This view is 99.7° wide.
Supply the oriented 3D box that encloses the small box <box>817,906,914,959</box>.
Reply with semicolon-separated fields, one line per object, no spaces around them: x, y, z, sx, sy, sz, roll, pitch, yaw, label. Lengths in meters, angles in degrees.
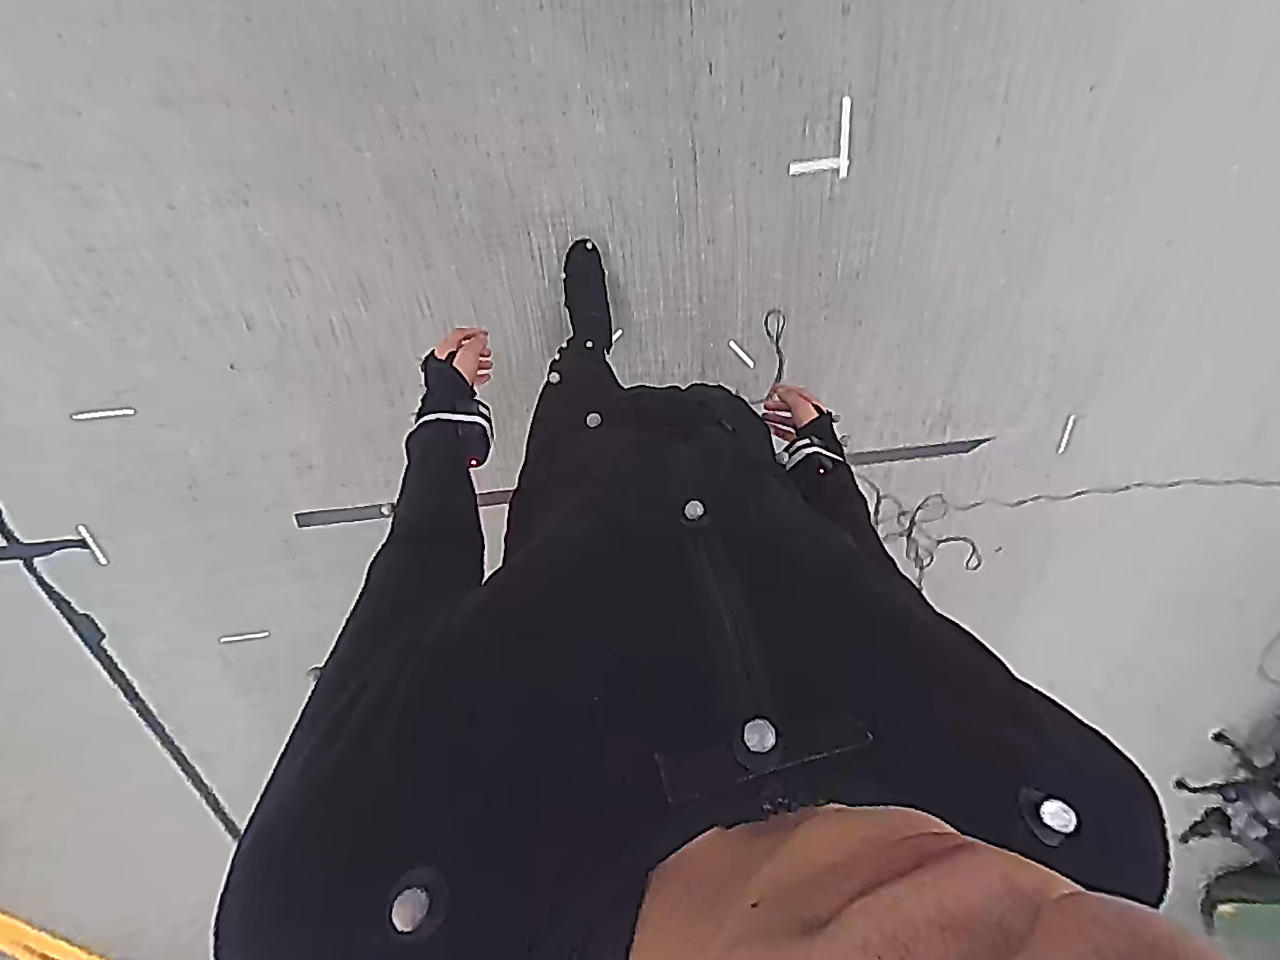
0.549;1.161;1.295;0.179;0.176;0.168;-5;117;-6;small box
